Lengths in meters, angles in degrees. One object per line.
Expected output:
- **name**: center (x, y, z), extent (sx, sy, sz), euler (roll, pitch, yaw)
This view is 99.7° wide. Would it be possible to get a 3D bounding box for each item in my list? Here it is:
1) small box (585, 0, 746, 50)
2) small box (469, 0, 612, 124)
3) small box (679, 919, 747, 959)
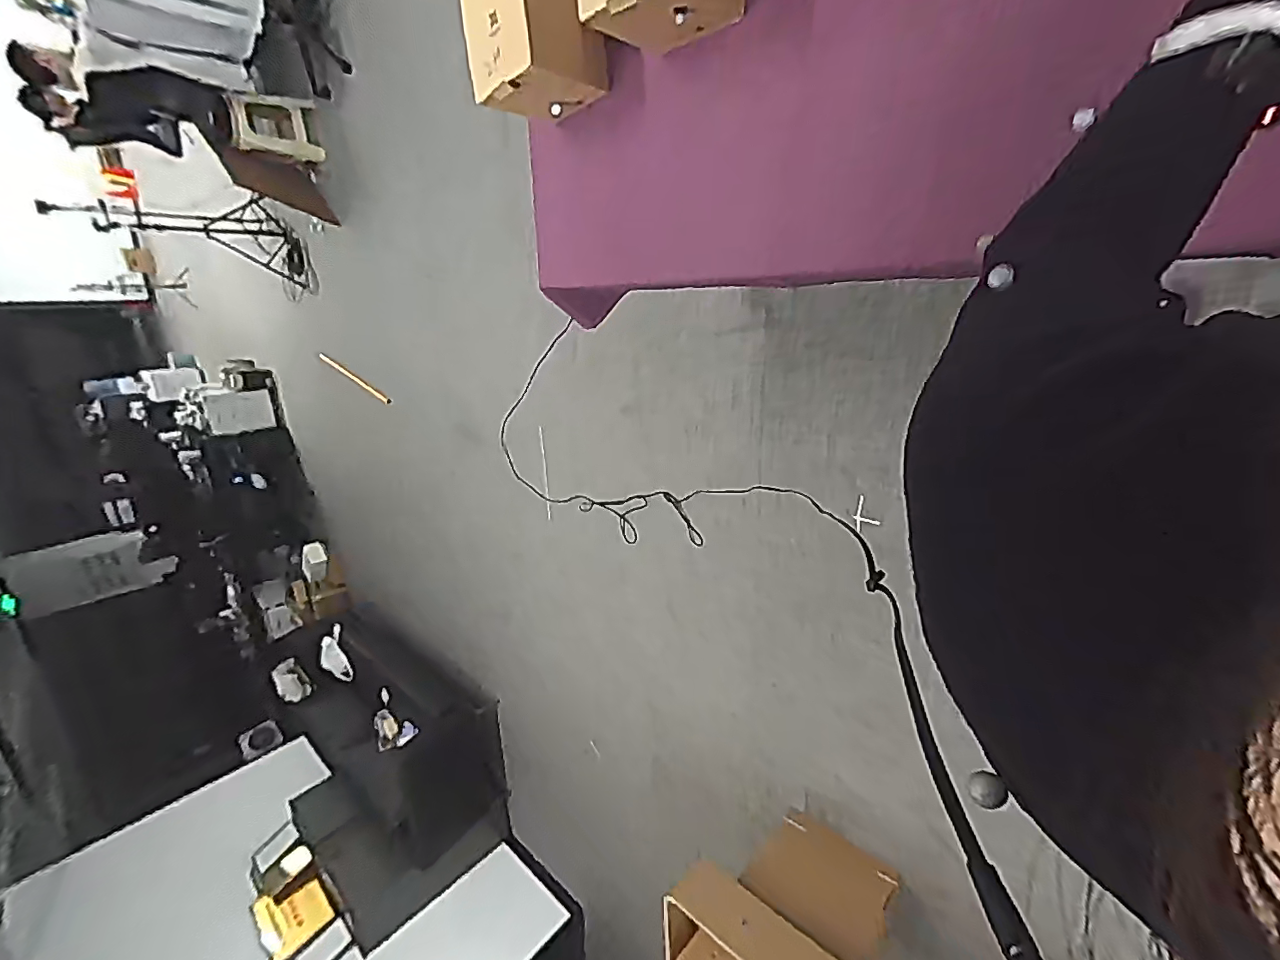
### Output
- **small box**: center (0.038, -0.722, 0.734), extent (0.168, 0.176, 0.179), euler (15, 114, 40)
- **small box**: center (-0.166, -0.748, 0.926), extent (0.168, 0.176, 0.179), euler (9, 110, 43)
- **small box**: center (0.229, 1.563, 1.714), extent (0.168, 0.176, 0.179), euler (23, 118, 39)
